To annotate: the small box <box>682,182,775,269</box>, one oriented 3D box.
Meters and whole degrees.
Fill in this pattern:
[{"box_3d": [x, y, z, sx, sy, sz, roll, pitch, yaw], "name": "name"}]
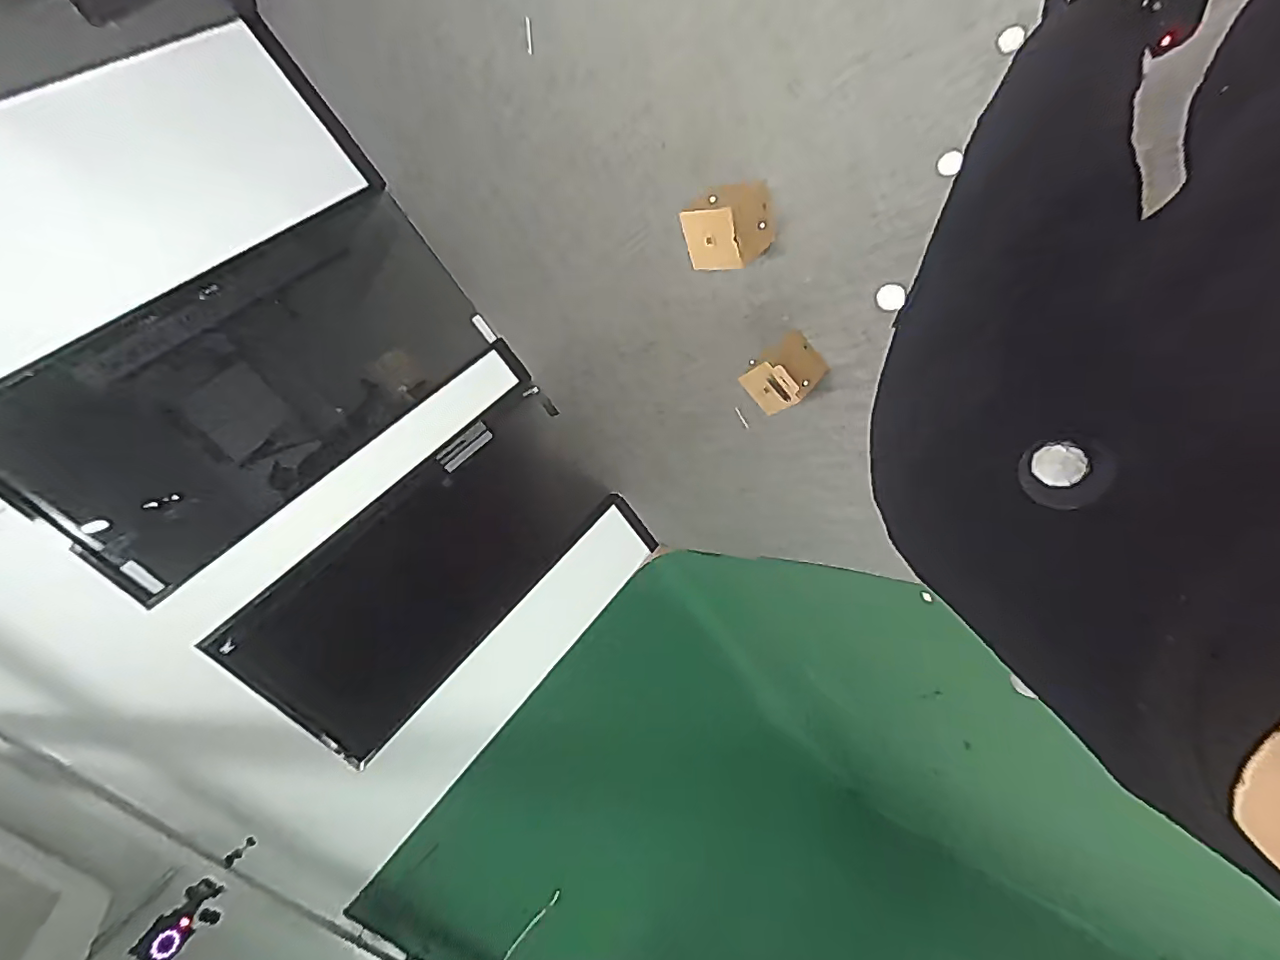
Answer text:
[{"box_3d": [0.249, -0.704, 1.500, 0.179, 0.176, 0.168, 20, 146, 41], "name": "small box"}]
